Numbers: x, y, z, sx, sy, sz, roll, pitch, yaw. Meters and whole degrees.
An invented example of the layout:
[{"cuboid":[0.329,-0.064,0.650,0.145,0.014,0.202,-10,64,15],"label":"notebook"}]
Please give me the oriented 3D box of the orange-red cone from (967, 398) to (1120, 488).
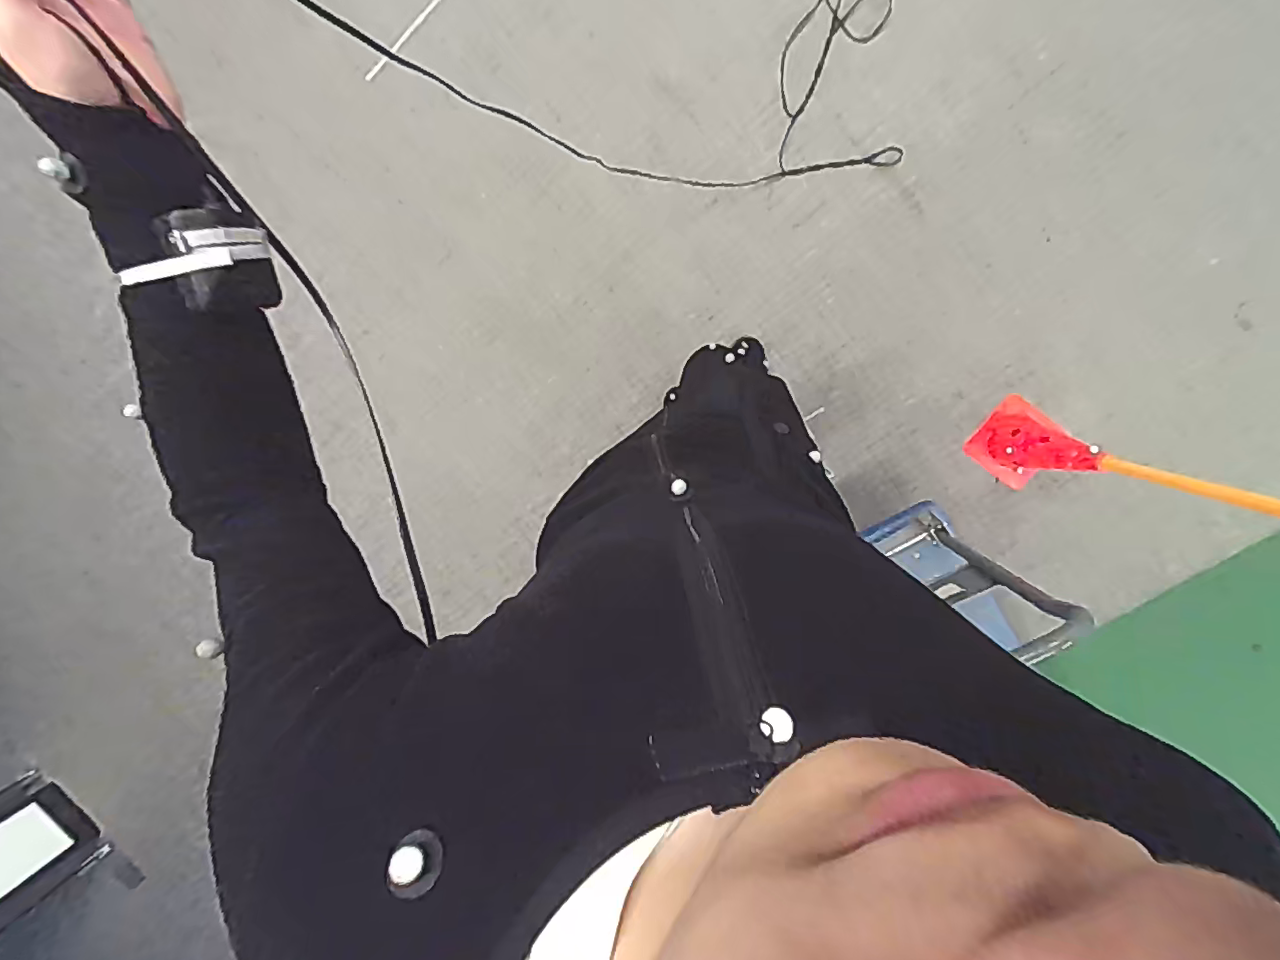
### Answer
[{"cuboid":[1.010,-0.068,1.308,0.198,0.360,0.199,37,102,-2],"label":"orange-red cone"}]
